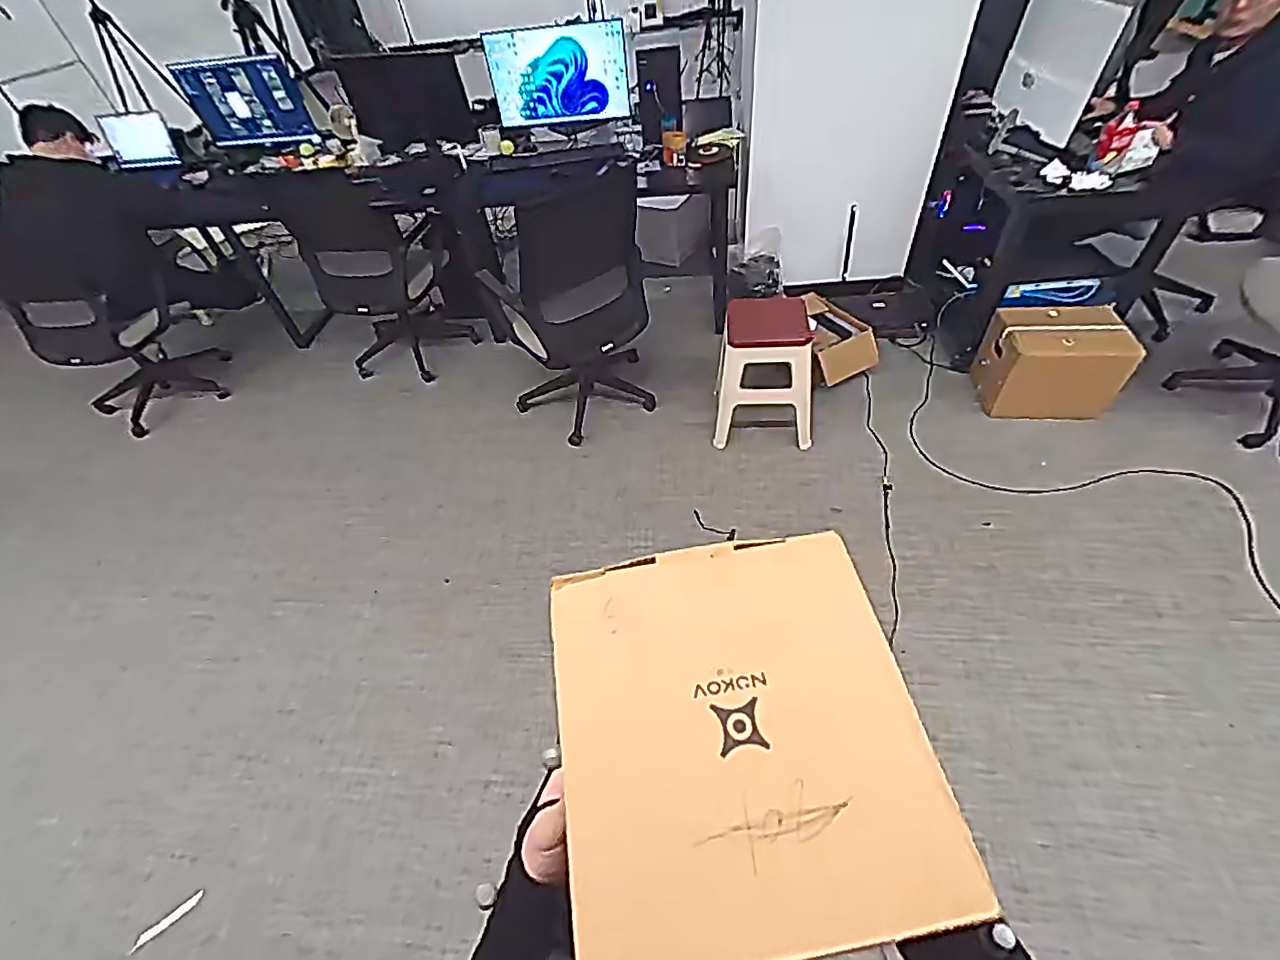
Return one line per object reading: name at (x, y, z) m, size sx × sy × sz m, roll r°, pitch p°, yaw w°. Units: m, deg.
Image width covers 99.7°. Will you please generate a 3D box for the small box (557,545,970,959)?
small box at (0.045, 0.163, 0.329) m, size 0.168 × 0.176 × 0.179 m, roll -8°, pitch 56°, yaw -4°
